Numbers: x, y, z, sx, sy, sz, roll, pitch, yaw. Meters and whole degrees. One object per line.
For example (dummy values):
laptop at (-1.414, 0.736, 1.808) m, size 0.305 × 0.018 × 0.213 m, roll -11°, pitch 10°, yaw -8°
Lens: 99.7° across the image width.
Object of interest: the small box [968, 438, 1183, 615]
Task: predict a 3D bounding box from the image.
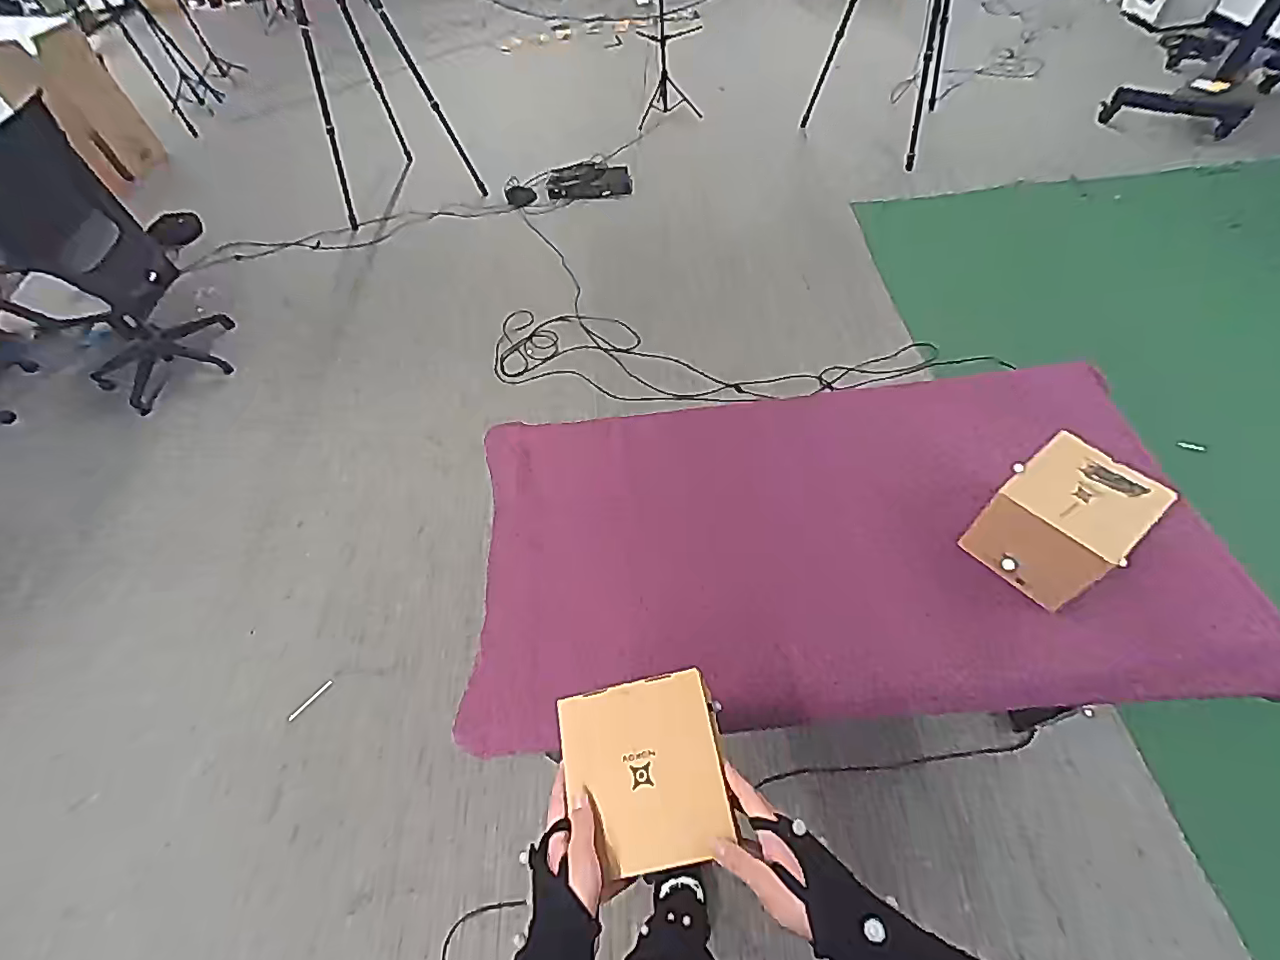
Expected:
small box at (0.653, 0.075, 0.836) m, size 0.179 × 0.176 × 0.168 m, roll -34°, pitch 58°, yaw -17°

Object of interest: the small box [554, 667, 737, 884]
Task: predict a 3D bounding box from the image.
small box at (0.012, 0.335, 0.625) m, size 0.168 × 0.176 × 0.179 m, roll -14°, pitch 58°, yaw 4°
